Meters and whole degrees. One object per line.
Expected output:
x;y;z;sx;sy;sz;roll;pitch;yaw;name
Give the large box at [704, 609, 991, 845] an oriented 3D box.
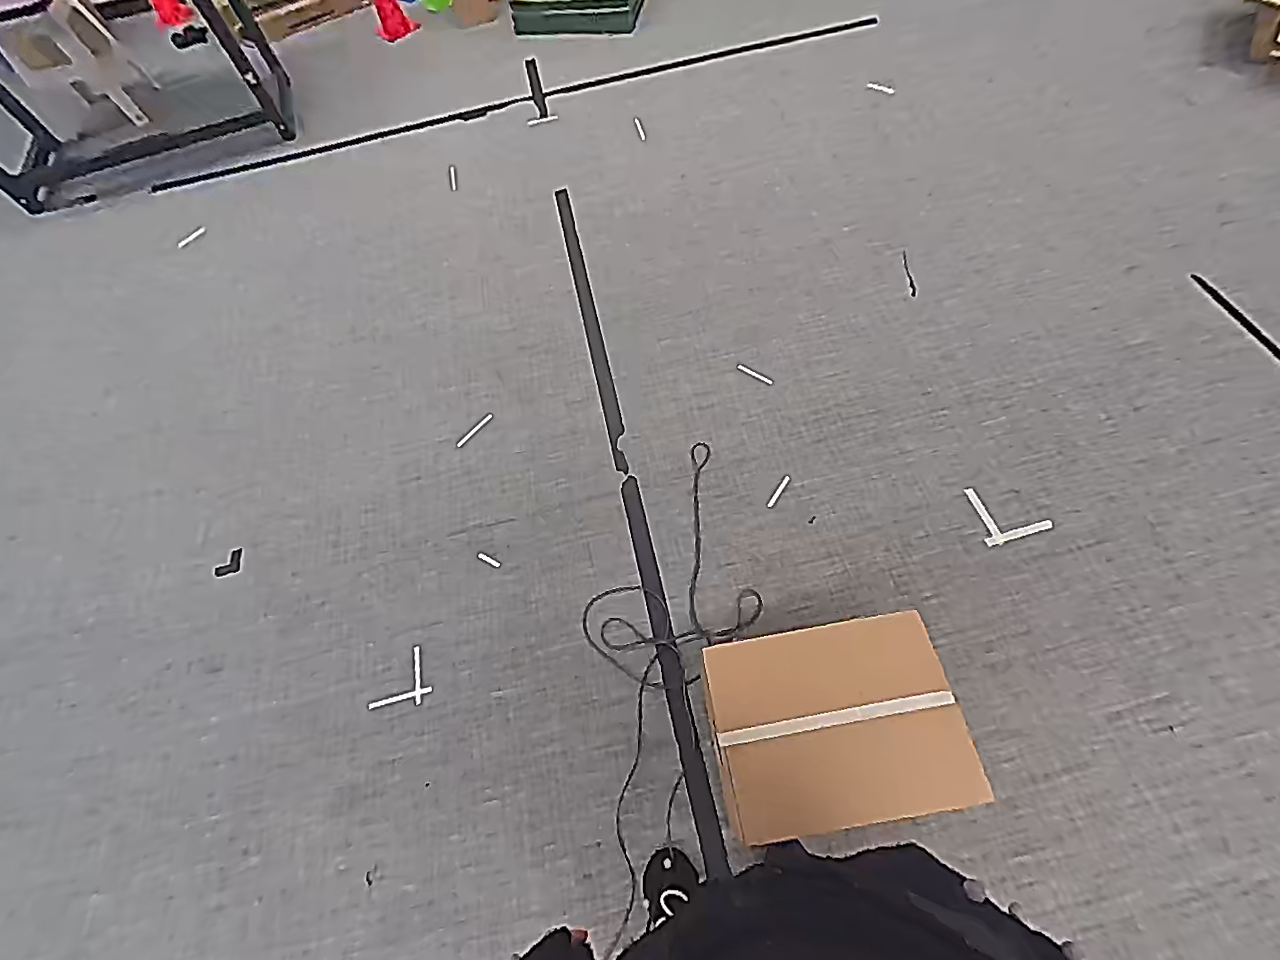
0.354;0.479;1.058;0.408;0.320;0.320;-11;62;1;large box
